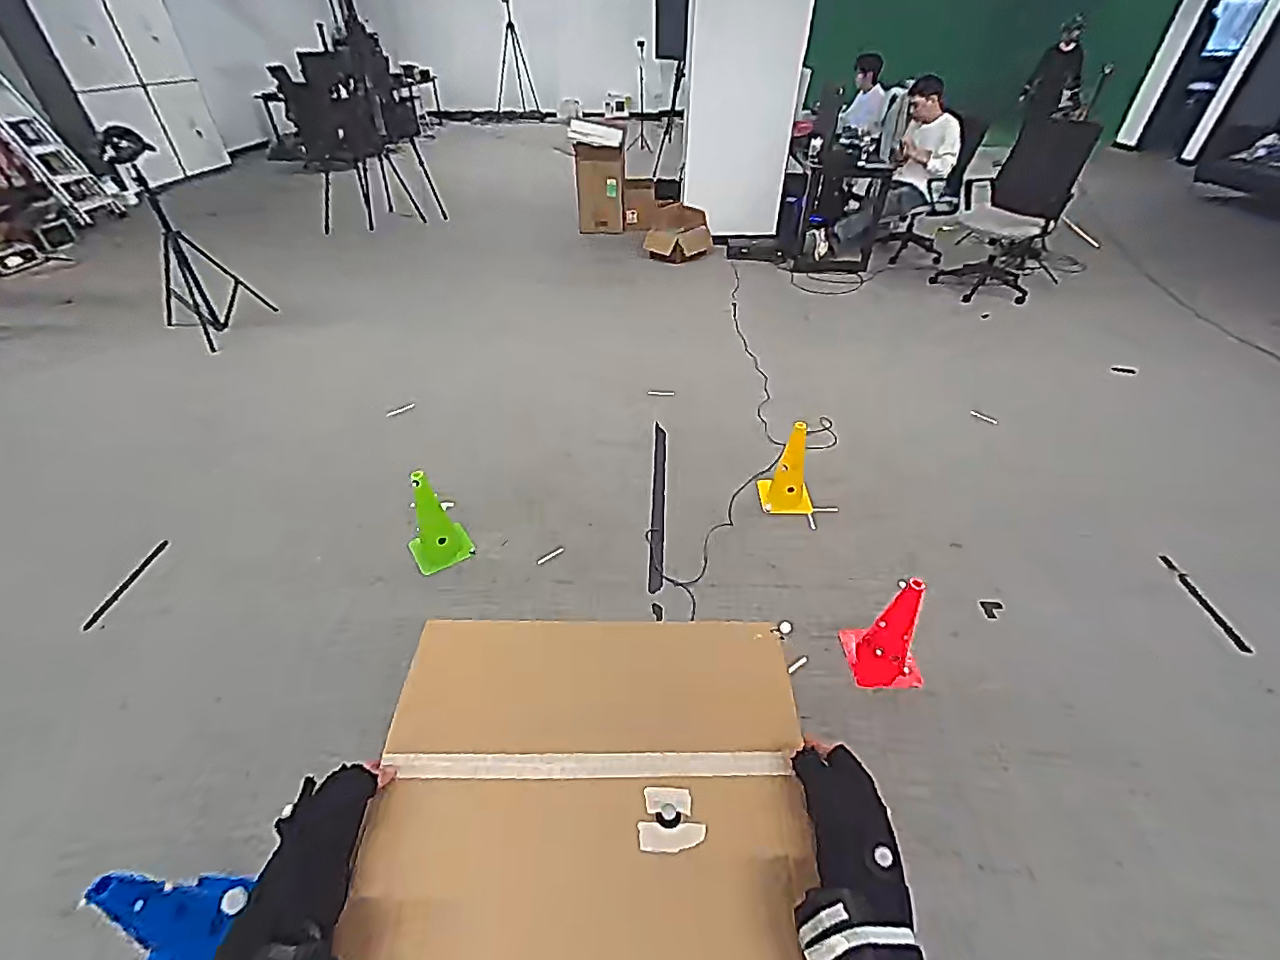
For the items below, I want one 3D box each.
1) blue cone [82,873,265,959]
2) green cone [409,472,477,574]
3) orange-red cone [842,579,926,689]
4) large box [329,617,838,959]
[{"bbox_3d":[-0.931,0.843,1.051,0.192,0.380,0.193,3,40,5],"label":"blue cone"},{"bbox_3d":[-0.732,0.116,1.896,0.202,0.368,0.200,-26,45,-25],"label":"green cone"},{"bbox_3d":[0.735,0.410,1.542,0.198,0.360,0.199,1,38,-1],"label":"orange-red cone"},{"bbox_3d":[-0.049,0.376,0.624,0.408,0.320,0.320,1,44,-2],"label":"large box"}]
